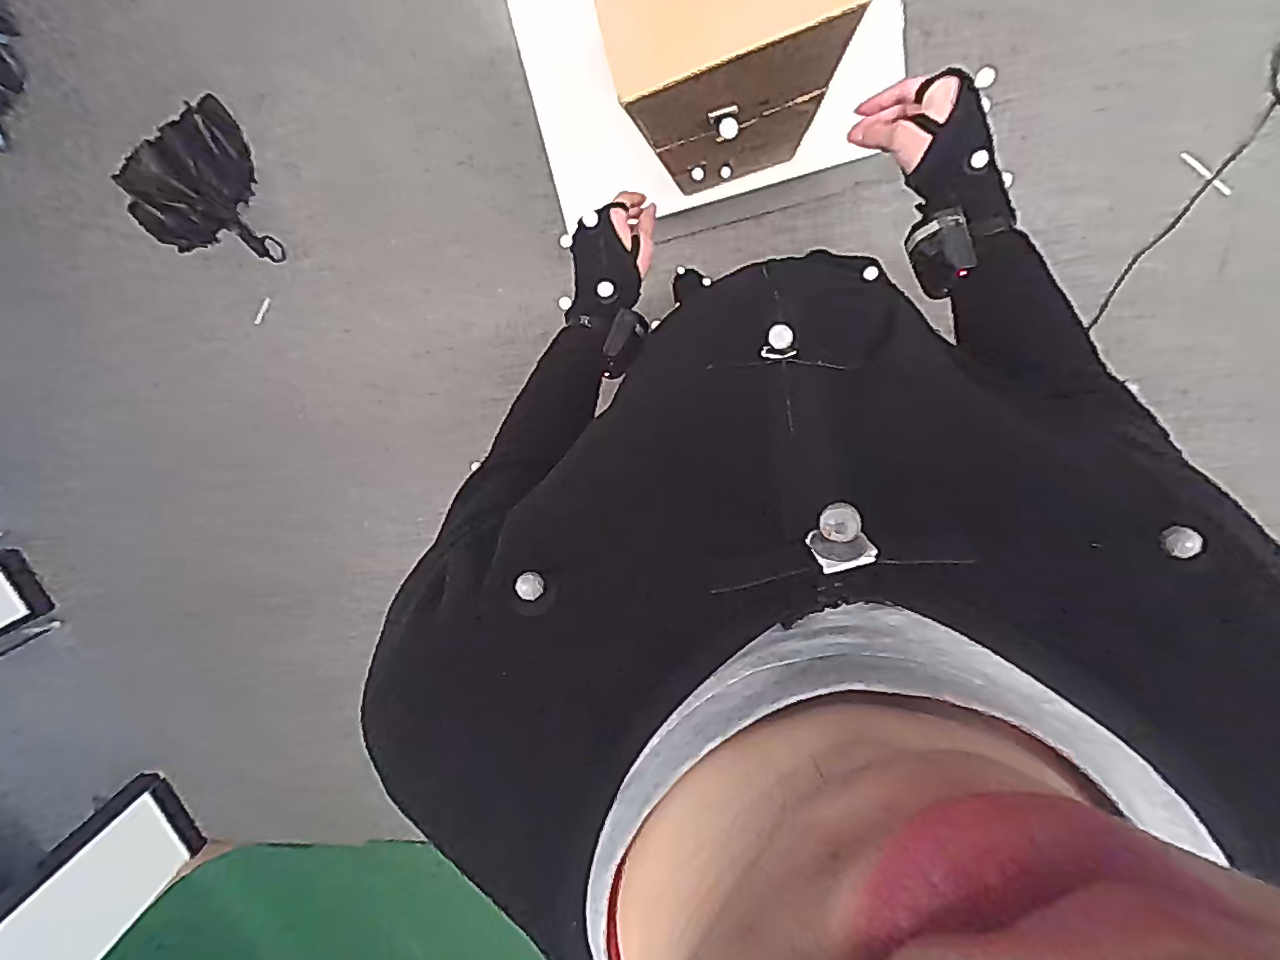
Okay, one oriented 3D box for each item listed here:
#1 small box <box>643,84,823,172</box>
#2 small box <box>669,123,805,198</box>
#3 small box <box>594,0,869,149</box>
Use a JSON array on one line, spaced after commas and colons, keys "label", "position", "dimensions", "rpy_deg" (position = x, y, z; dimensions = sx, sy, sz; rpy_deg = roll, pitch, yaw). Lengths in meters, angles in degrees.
[{"label": "small box", "position": [0.077, -0.433, 0.543], "dimensions": [0.168, 0.176, 0.179], "rpy_deg": [-13, 106, 14]}, {"label": "small box", "position": [0.104, -0.491, 0.696], "dimensions": [0.168, 0.176, 0.179], "rpy_deg": [-14, 107, 15]}, {"label": "small box", "position": [0.052, -0.377, 0.392], "dimensions": [0.168, 0.176, 0.179], "rpy_deg": [-13, 108, 15]}]
